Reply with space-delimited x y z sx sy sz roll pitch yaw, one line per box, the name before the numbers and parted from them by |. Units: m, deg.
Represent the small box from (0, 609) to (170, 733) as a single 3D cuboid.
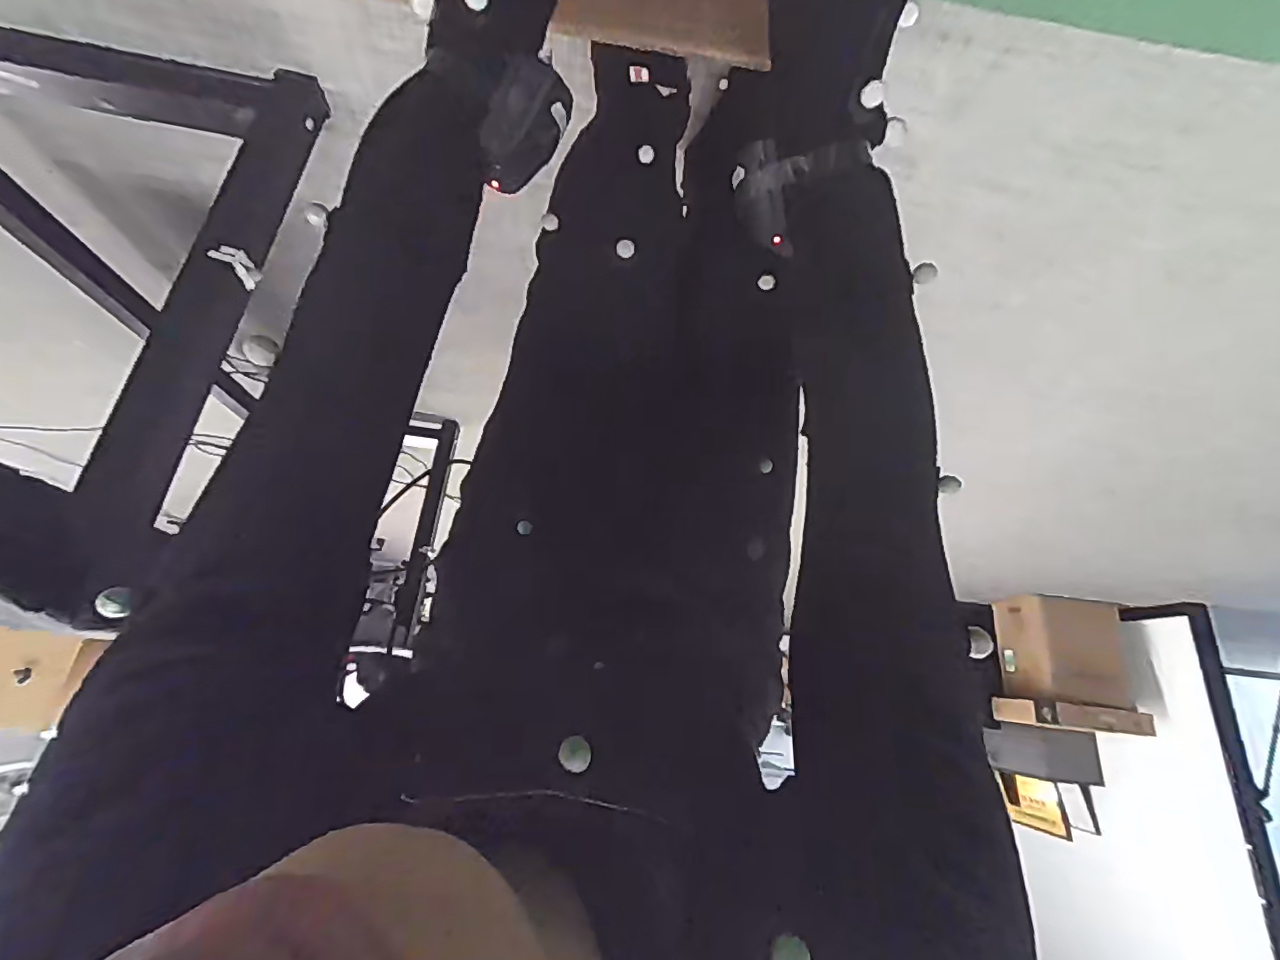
small box | -0.931 0.305 0.875 0.168 0.176 0.179 6 161 -2
